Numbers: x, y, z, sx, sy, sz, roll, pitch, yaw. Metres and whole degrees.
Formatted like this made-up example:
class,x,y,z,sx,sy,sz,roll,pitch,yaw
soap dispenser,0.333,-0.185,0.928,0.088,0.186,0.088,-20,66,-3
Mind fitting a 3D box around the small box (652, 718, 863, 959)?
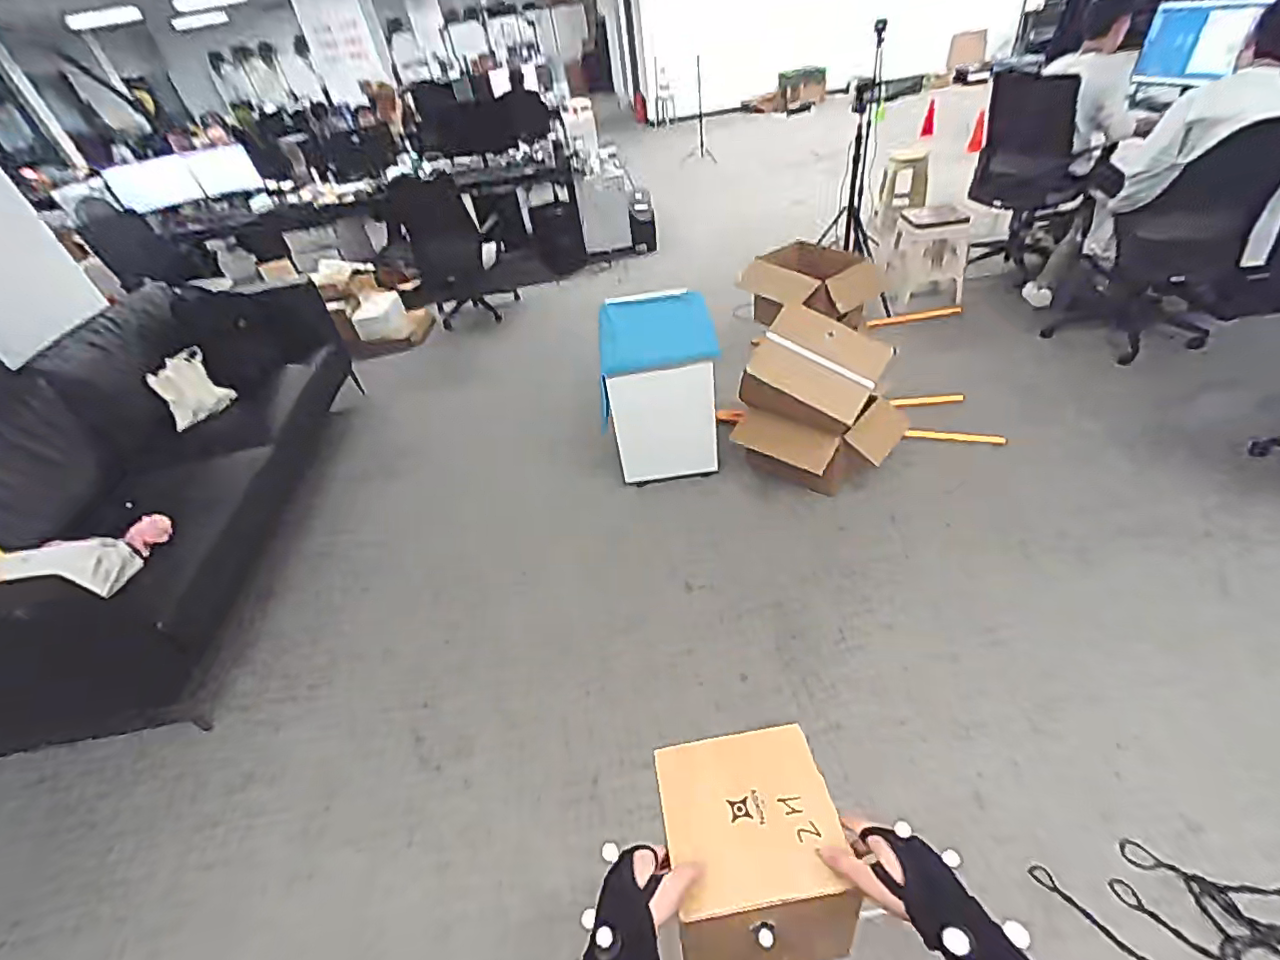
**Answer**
class,x,y,z,sx,sy,sz,roll,pitch,yaw
small box,0.116,0.393,0.587,0.179,0.176,0.168,-8,33,-3
